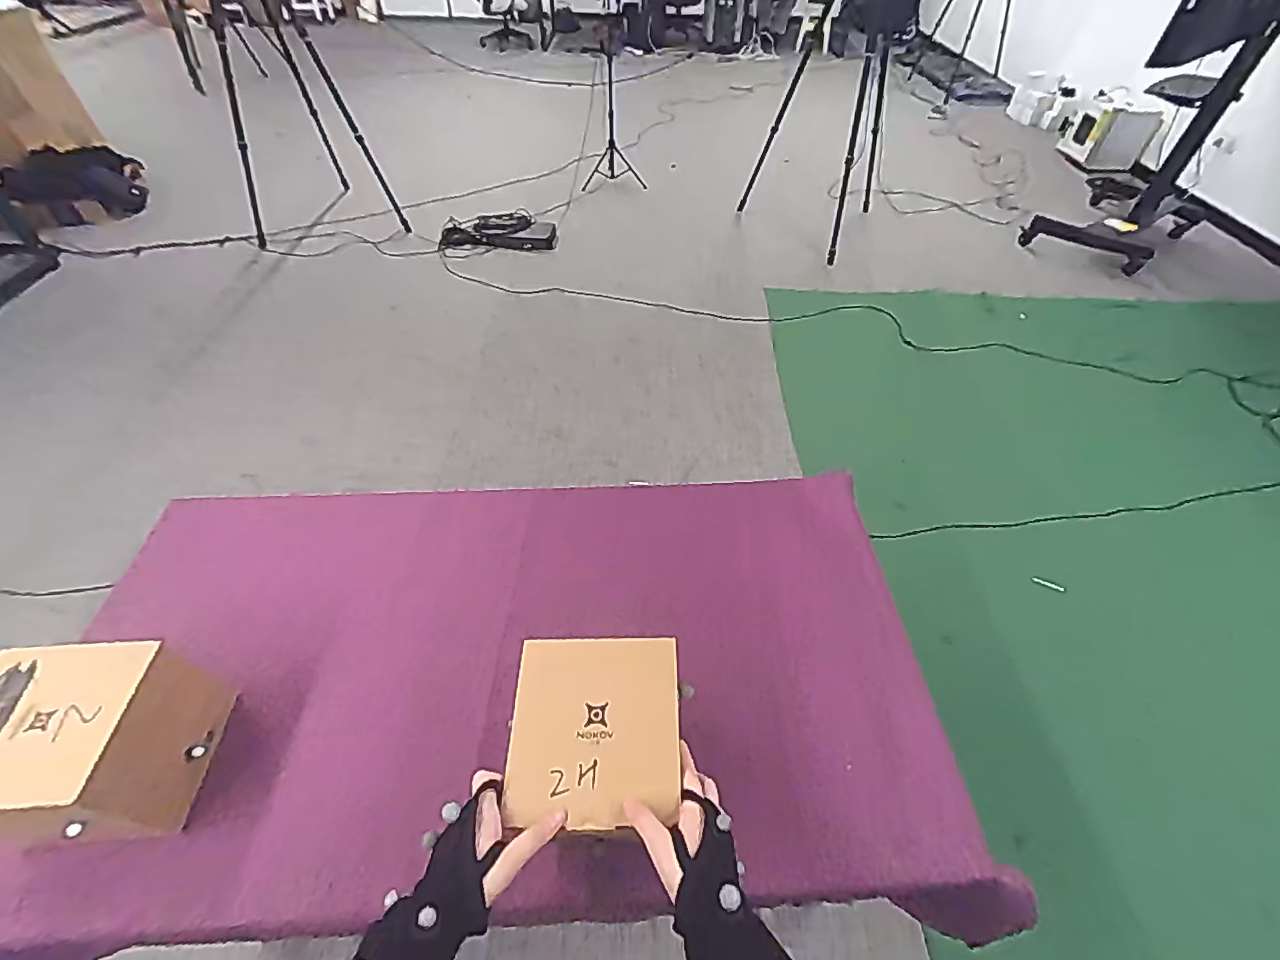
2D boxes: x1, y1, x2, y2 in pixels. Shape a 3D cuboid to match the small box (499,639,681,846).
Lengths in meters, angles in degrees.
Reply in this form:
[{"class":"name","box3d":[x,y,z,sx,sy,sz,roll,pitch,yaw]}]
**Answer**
[{"class":"small box","box3d":[-0.041,0.290,0.595,0.168,0.176,0.179,-1,53,3]}]
